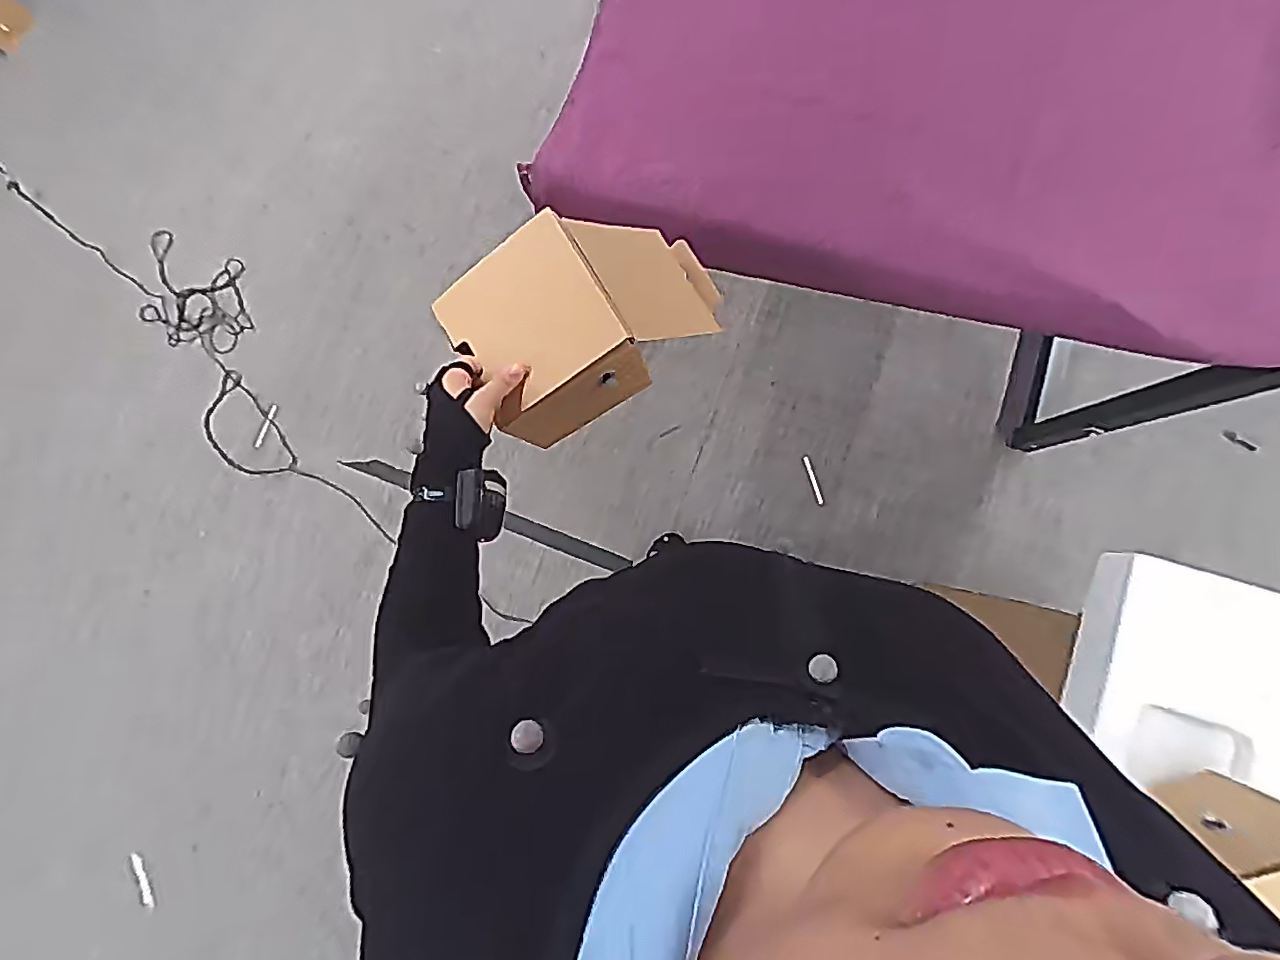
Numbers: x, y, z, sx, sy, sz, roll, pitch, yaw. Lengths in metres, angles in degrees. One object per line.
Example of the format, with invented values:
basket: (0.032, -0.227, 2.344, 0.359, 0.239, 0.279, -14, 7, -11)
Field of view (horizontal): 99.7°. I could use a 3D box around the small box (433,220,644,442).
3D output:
small box: (-0.107, -0.166, 0.660, 0.179, 0.176, 0.168, -31, 81, 4)
